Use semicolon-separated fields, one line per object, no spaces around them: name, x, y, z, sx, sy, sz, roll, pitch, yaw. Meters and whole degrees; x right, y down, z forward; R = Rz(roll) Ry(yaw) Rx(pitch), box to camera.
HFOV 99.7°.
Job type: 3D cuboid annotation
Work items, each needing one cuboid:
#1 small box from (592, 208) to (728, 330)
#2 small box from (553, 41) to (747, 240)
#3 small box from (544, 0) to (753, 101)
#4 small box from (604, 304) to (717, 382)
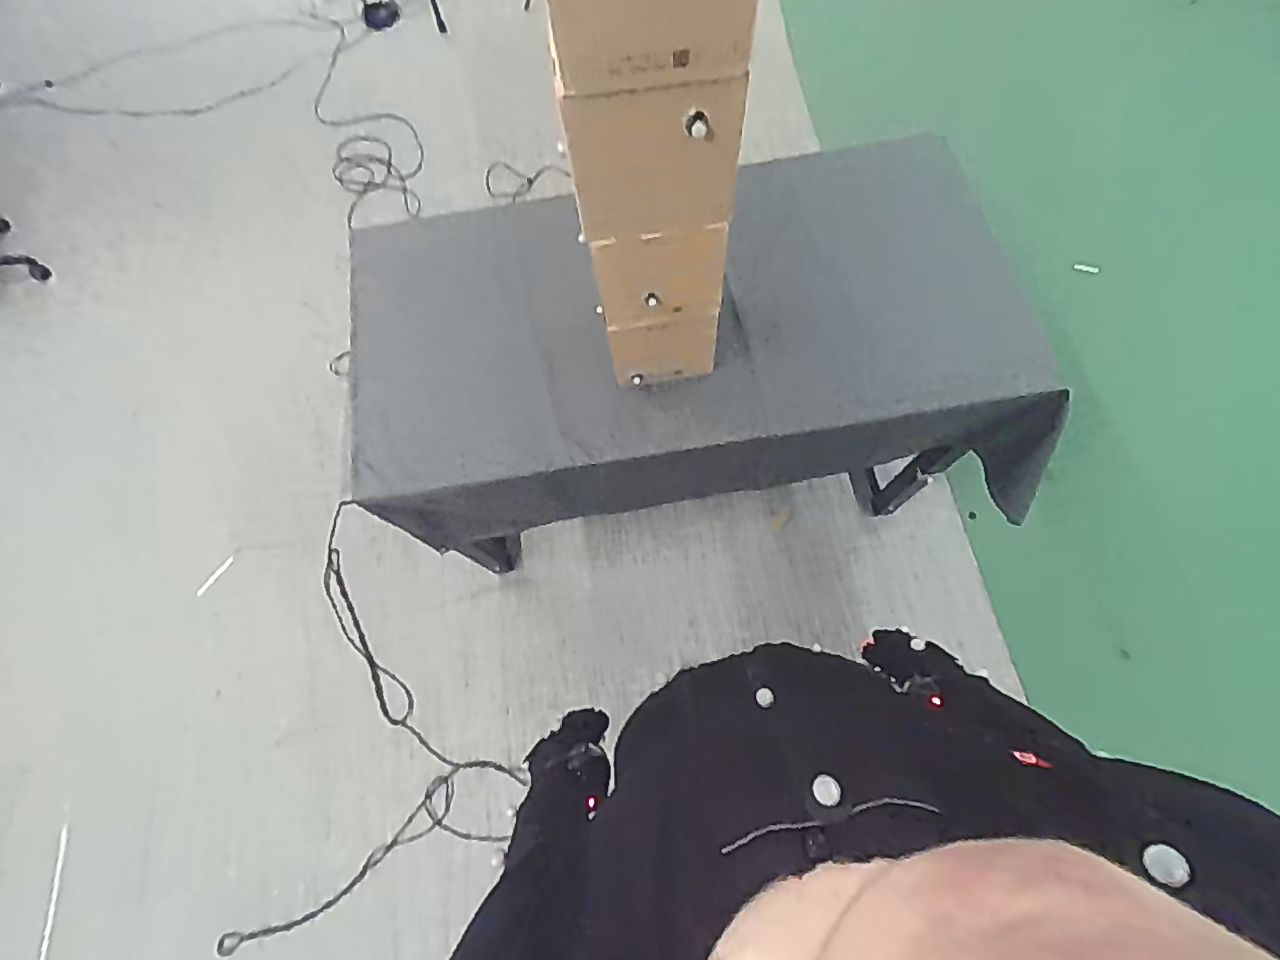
small box;0.018;-0.335;0.744;0.168;0.176;0.179;-9;69;1
small box;0.008;-0.392;0.590;0.179;0.176;0.168;-8;68;2
small box;0.000;-0.452;0.438;0.168;0.176;0.179;-6;68;2
small box;0.030;-0.277;0.894;0.168;0.176;0.179;-9;67;1
